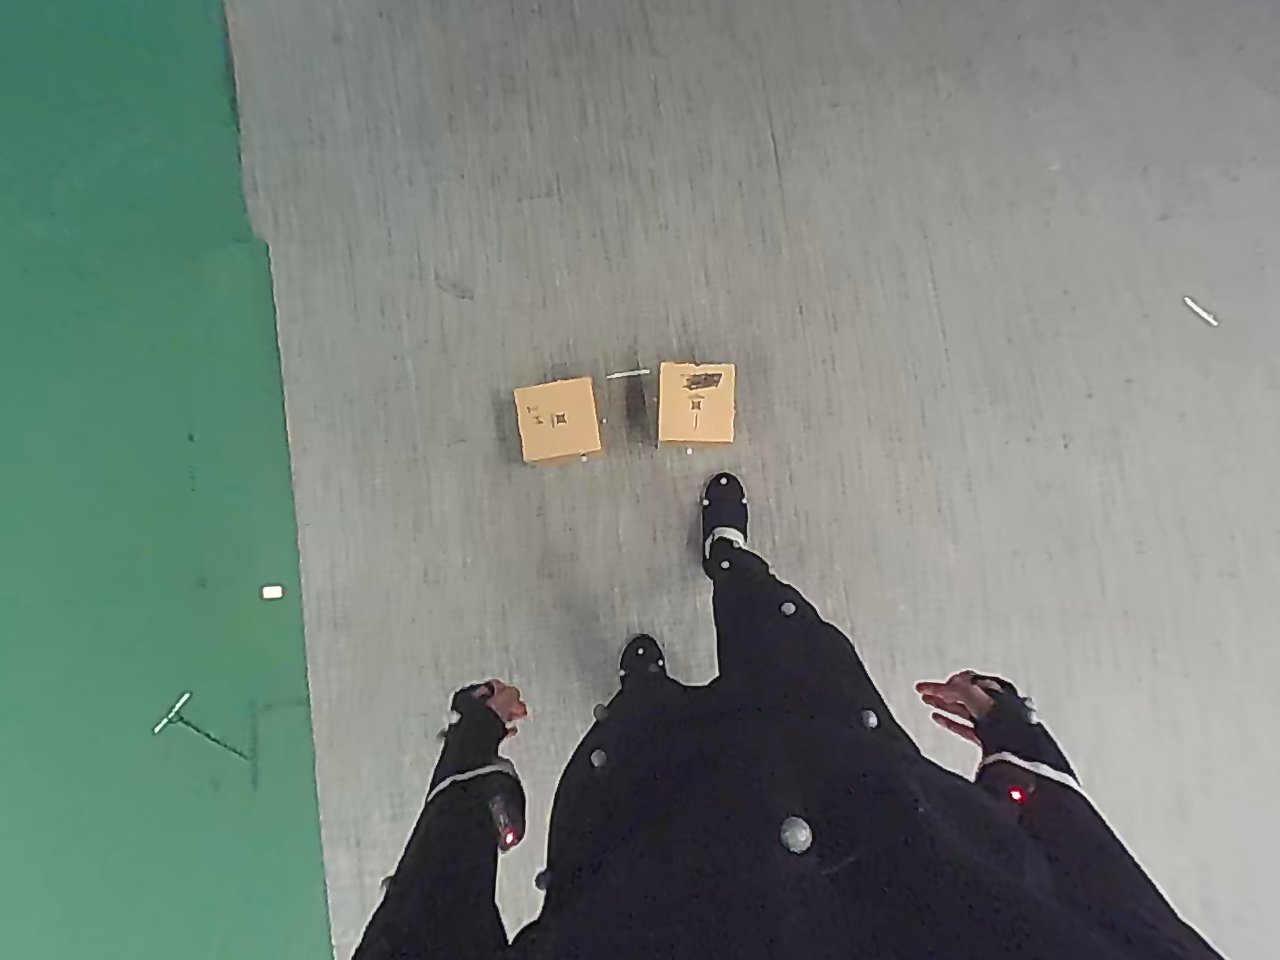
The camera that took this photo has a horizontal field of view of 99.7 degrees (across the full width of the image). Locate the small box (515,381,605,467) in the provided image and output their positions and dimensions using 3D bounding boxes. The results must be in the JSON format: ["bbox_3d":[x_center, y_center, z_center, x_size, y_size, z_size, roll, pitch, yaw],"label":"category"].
[{"bbox_3d":[-0.179,-0.126,1.273,0.179,0.176,0.168,-9,86,2],"label":"small box"}]

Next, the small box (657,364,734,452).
[{"bbox_3d":[0.124,-0.163,1.269,0.168,0.176,0.179,1,87,2],"label":"small box"}]
